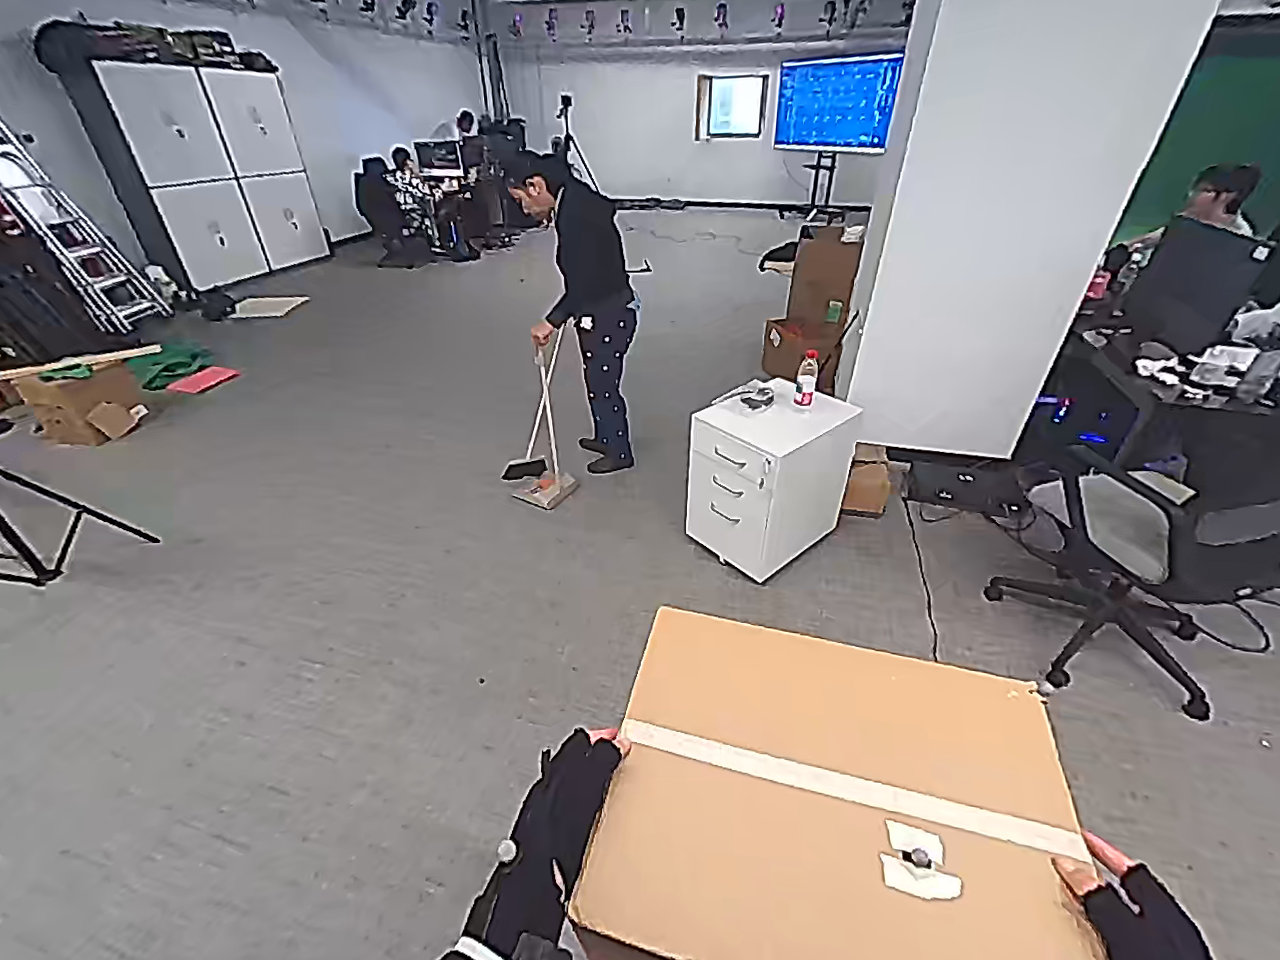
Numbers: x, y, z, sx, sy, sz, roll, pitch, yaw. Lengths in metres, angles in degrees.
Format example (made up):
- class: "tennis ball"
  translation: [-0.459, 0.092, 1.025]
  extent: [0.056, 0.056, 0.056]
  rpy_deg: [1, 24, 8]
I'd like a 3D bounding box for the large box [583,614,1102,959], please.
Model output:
- class: "large box"
  translation: [0.183, 0.400, 0.605]
  extent: [0.408, 0.320, 0.320]
  rpy_deg: [9, 42, 13]
